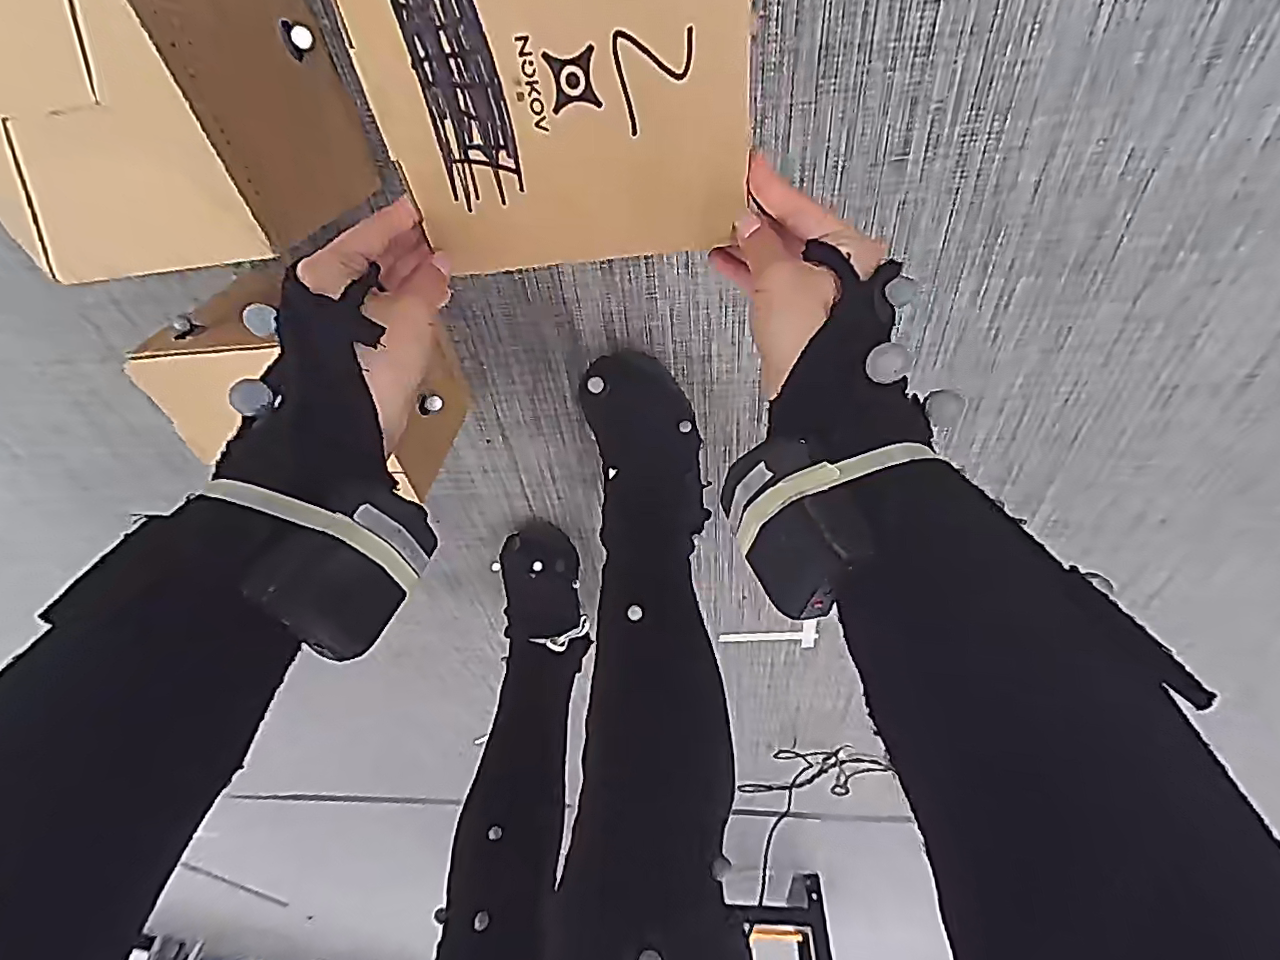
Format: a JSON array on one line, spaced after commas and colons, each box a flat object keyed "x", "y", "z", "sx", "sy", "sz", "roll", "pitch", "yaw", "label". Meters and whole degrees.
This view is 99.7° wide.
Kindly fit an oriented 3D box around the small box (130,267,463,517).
[{"x": -0.283, "y": -0.084, "z": 0.503, "sx": 0.179, "sy": 0.176, "sz": 0.168, "roll": -3, "pitch": 132, "yaw": 7, "label": "small box"}]
